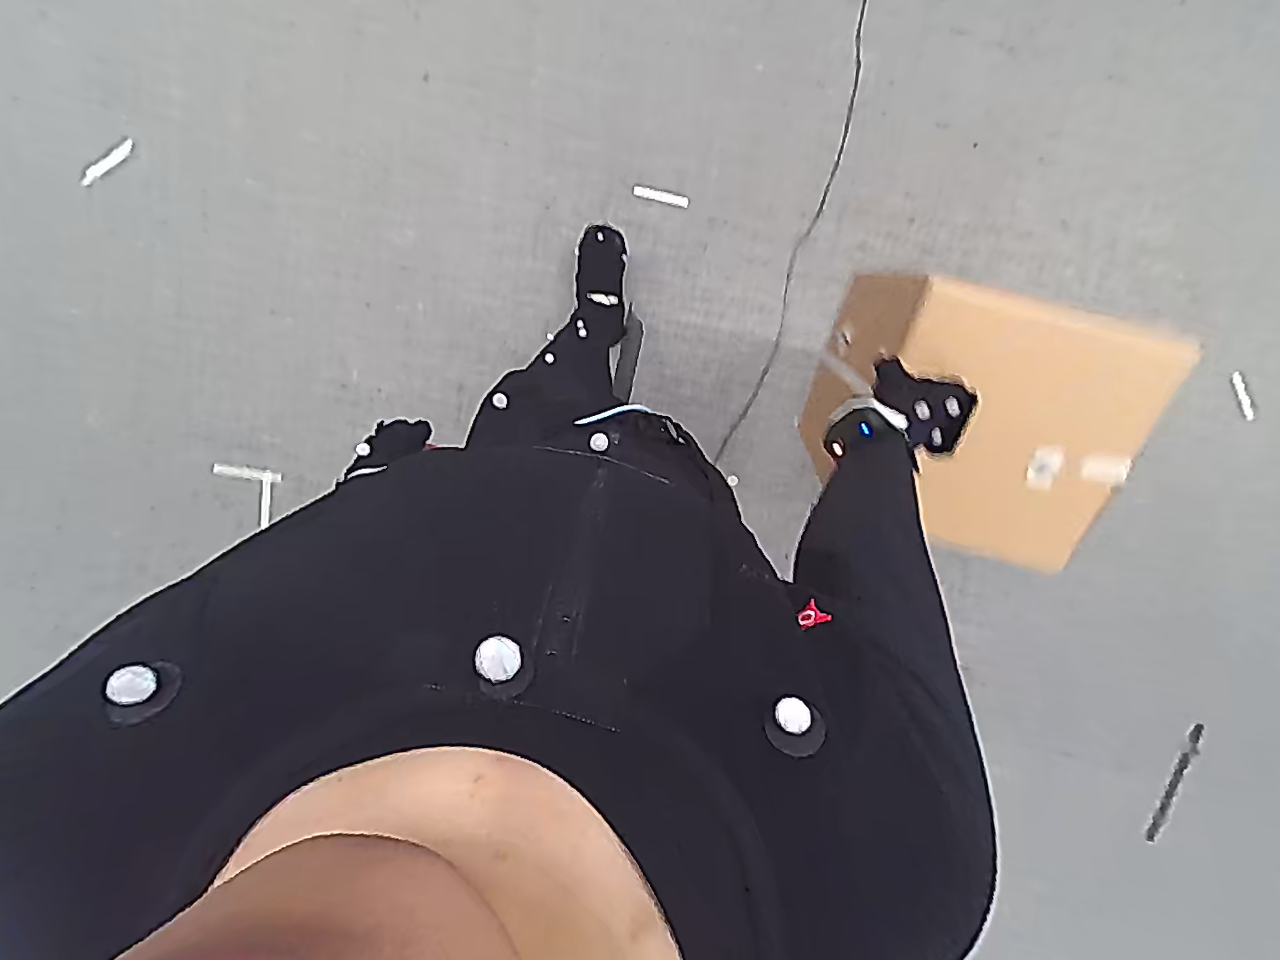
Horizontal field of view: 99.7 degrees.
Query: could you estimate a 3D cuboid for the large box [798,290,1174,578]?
[{"bbox_3d":[0.478,-0.105,0.870,0.320,0.408,0.320,20,112,3],"label":"large box"}]
